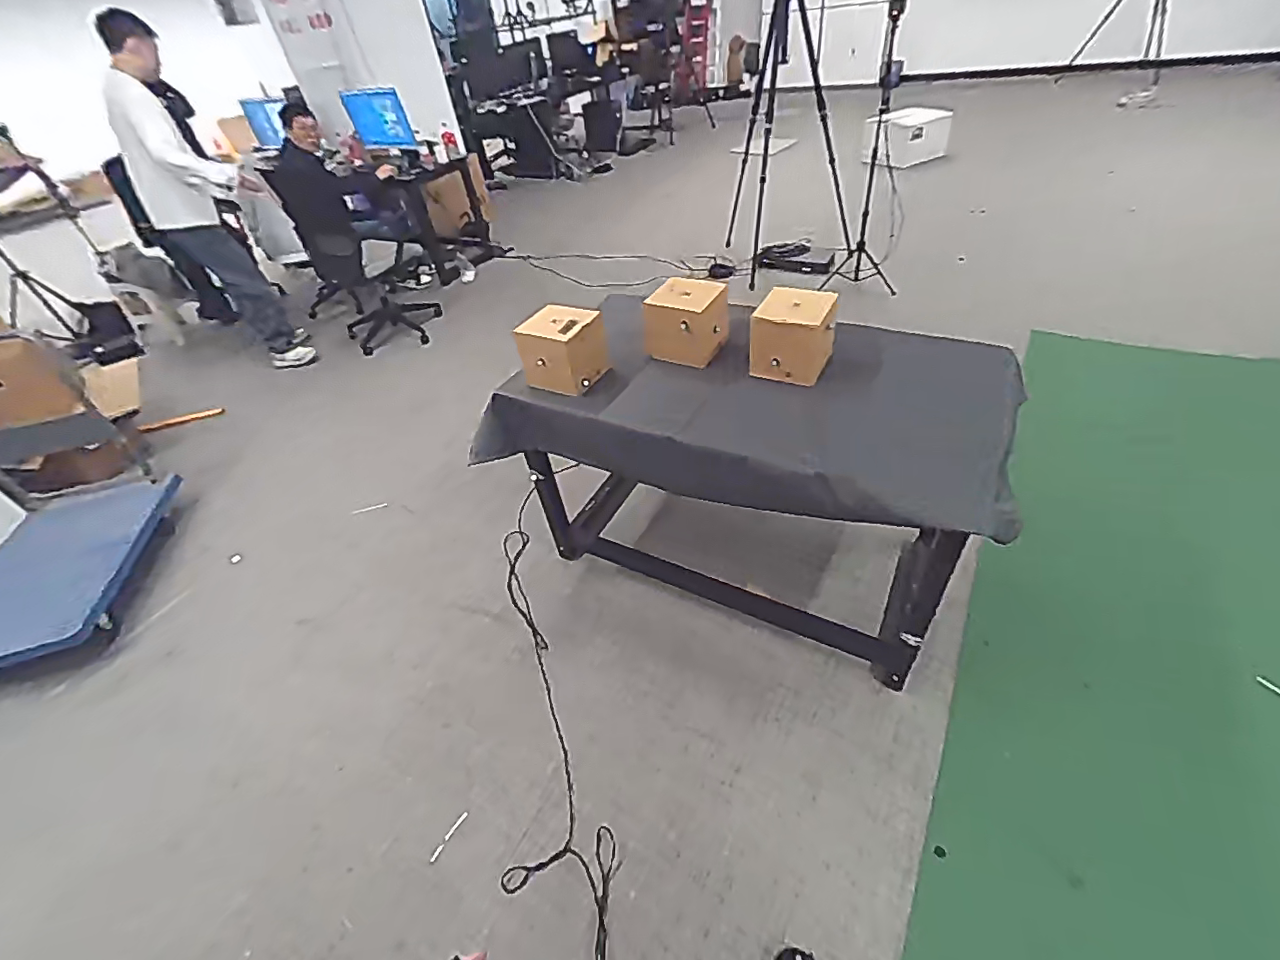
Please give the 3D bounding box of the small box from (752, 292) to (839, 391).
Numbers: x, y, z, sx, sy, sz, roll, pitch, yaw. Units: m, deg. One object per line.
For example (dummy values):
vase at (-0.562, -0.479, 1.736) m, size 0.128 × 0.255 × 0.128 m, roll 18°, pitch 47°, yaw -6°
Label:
small box at (0.389, -0.352, 1.373) m, size 0.168 × 0.176 × 0.179 m, roll 17°, pitch 49°, yaw 25°

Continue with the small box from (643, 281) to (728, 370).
small box at (0.131, -0.421, 1.485) m, size 0.179 × 0.176 × 0.168 m, roll 19°, pitch 50°, yaw 27°

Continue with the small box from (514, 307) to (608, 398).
small box at (-0.203, -0.340, 1.452) m, size 0.179 × 0.176 × 0.168 m, roll 17°, pitch 47°, yaw 26°
